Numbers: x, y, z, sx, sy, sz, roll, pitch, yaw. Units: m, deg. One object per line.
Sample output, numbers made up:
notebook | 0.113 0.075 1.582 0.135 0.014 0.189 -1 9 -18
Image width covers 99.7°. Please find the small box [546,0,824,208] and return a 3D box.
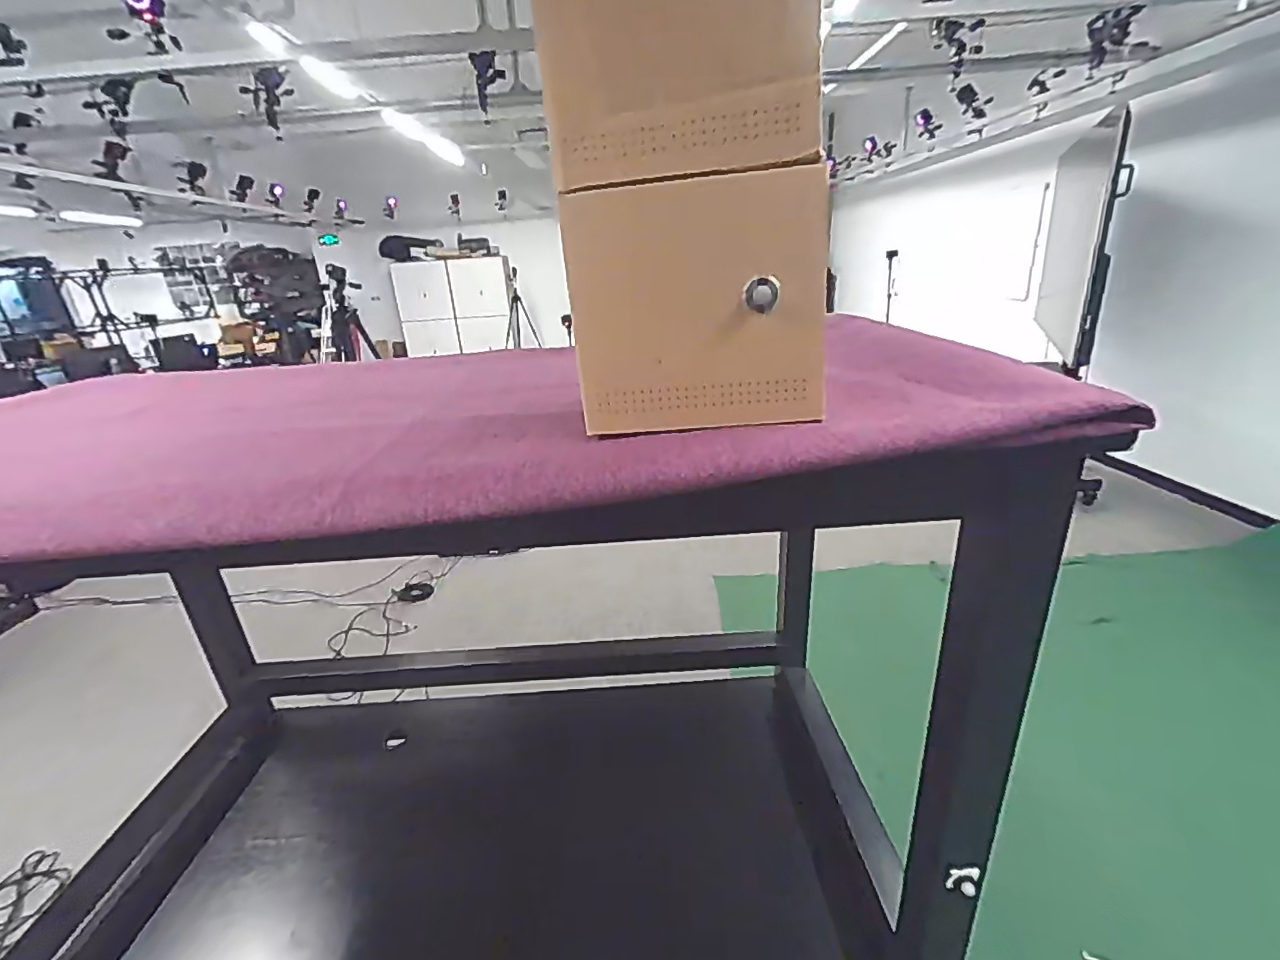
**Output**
small box | 0.036 -0.289 0.405 0.179 0.176 0.168 -2 18 9

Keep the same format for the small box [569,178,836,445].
small box | 0.052 -0.133 0.449 0.179 0.176 0.168 -4 18 6
